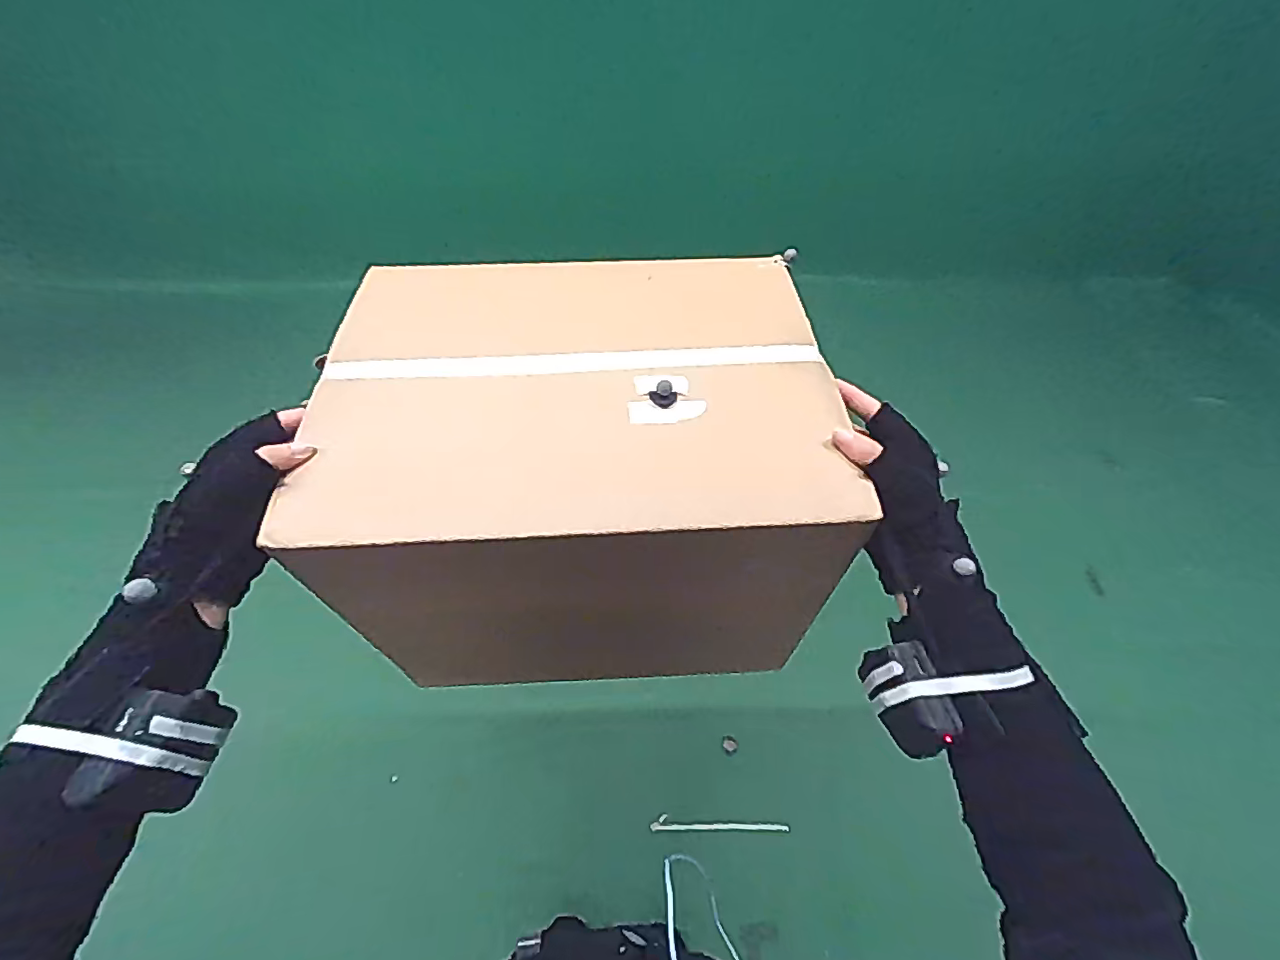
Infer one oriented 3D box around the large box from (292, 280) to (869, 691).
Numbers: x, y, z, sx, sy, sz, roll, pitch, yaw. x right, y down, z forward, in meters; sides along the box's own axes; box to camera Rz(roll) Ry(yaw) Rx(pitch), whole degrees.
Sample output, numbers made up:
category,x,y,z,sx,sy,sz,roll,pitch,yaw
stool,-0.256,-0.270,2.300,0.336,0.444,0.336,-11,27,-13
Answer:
category,x,y,z,sx,sy,sz,roll,pitch,yaw
large box,-0.049,0.012,0.574,0.408,0.320,0.320,-2,53,-3
